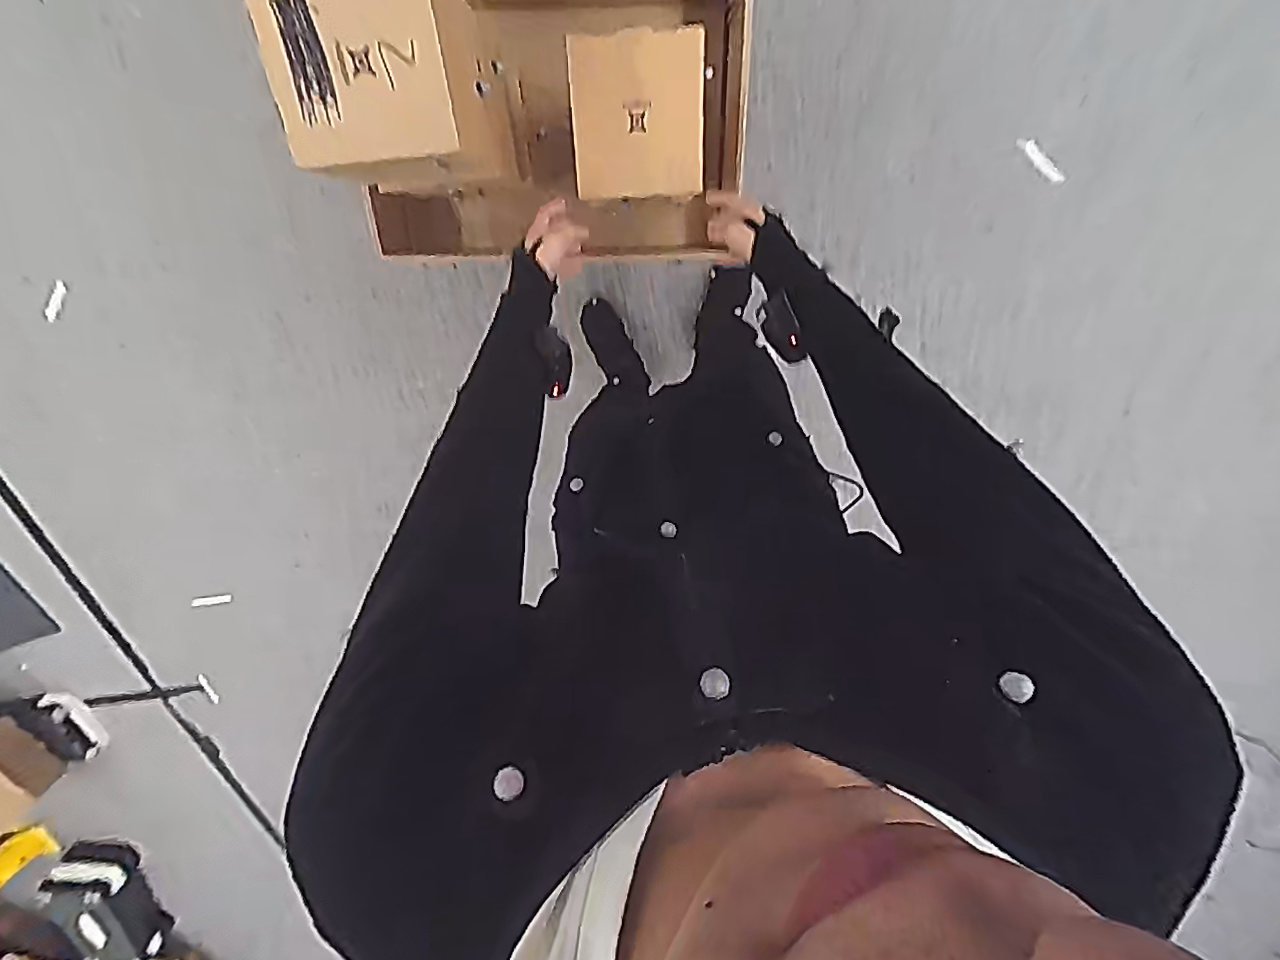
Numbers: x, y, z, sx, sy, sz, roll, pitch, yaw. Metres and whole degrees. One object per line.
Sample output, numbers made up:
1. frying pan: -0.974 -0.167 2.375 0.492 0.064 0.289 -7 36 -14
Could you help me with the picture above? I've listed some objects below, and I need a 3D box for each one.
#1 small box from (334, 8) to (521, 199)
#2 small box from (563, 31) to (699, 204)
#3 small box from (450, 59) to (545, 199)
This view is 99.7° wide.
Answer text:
1. small box: -0.272 -0.495 0.737 0.168 0.176 0.179 -5 115 4
2. small box: -0.007 -0.482 0.747 0.168 0.176 0.179 -3 114 1
3. small box: -0.264 -0.563 0.887 0.179 0.176 0.168 -4 115 1
